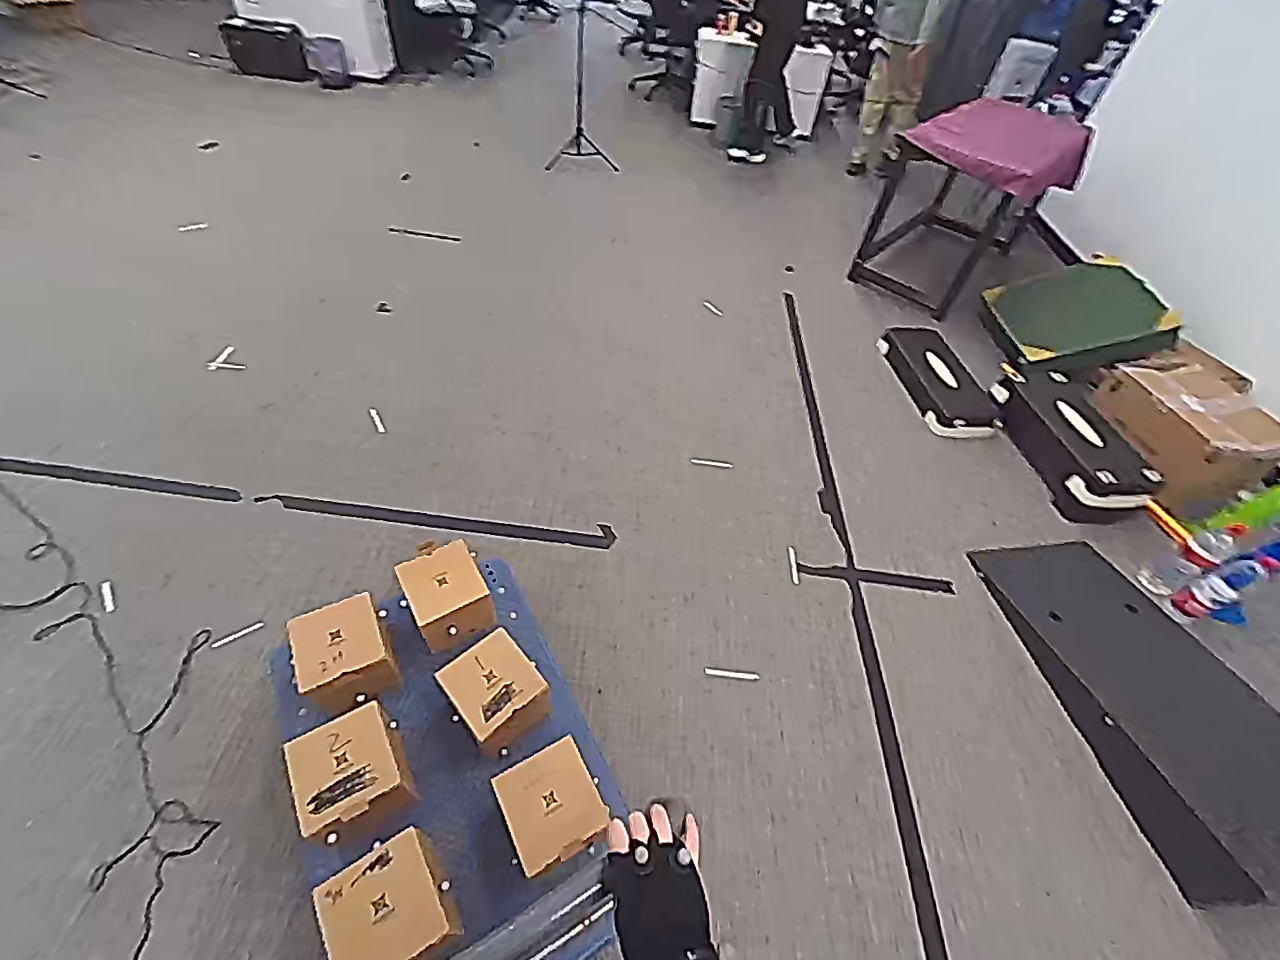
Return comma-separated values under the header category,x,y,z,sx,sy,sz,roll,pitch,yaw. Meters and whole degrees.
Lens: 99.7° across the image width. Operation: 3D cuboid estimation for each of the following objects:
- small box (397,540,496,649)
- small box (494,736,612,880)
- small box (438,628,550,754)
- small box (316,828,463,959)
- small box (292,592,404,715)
category,x,y,z,sx,sy,sz,roll,pitch,yaw
small box,-0.462,0.285,1.312,0.168,0.176,0.179,-24,57,-25
small box,-0.167,0.640,1.050,0.168,0.176,0.179,-21,55,-24
small box,-0.309,0.466,1.177,0.168,0.176,0.179,-32,60,-30
small box,-0.419,0.741,0.928,0.168,0.176,0.179,-24,57,-26
small box,-0.642,0.386,1.199,0.168,0.176,0.179,-20,56,-22
